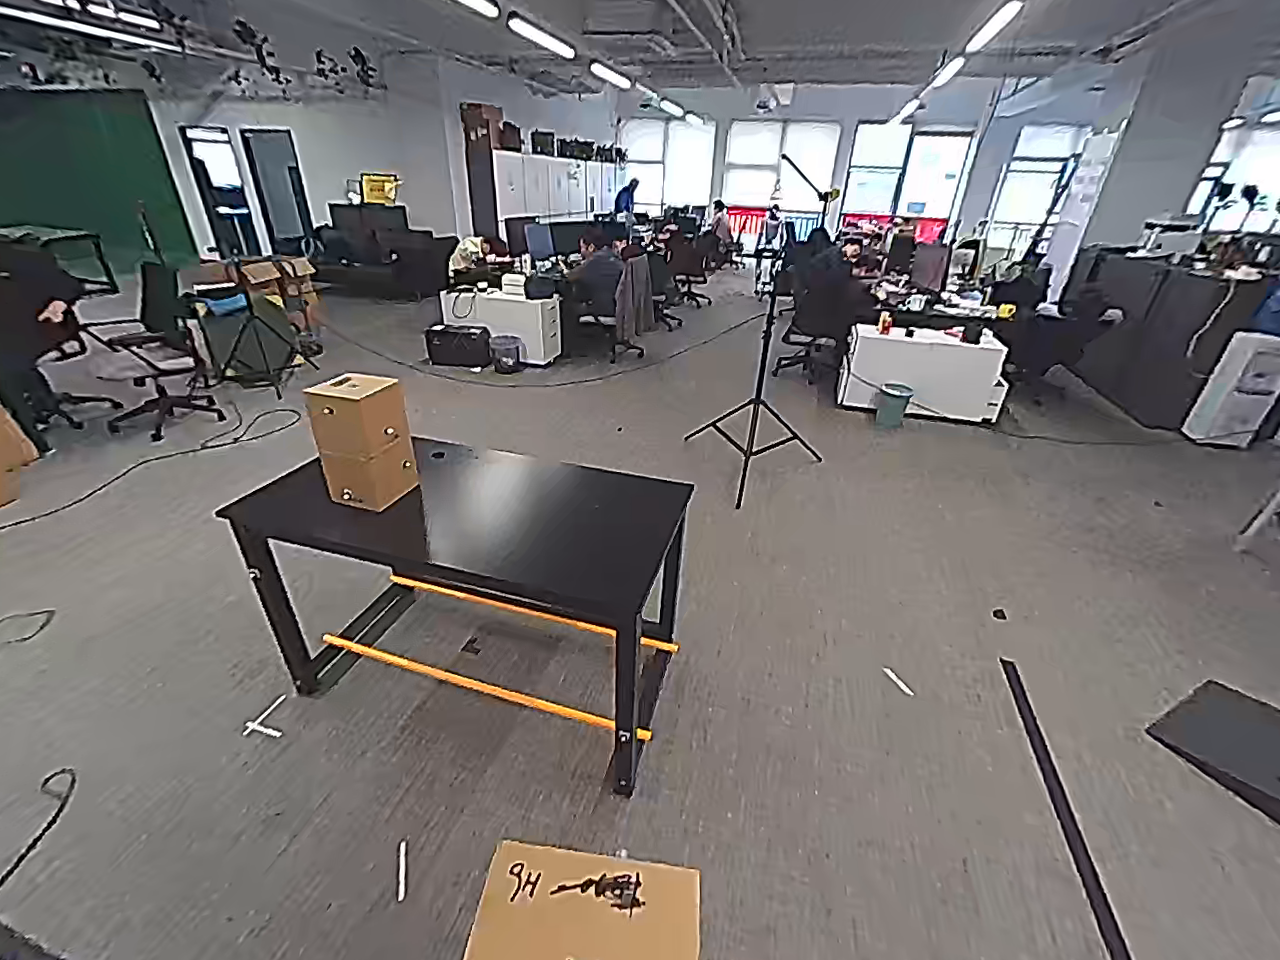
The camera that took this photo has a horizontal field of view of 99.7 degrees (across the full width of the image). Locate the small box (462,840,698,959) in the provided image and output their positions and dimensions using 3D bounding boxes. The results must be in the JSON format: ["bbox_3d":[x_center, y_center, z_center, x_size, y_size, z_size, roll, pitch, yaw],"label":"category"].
[{"bbox_3d":[-0.048,0.414,0.409,0.168,0.176,0.179,6,36,3],"label":"small box"}]

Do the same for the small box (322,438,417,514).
[{"bbox_3d":[-0.763,-0.024,1.550,0.168,0.176,0.179,9,30,14],"label":"small box"}]

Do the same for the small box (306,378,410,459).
[{"bbox_3d":[-0.759,-0.168,1.470,0.179,0.176,0.168,9,29,13],"label":"small box"}]
